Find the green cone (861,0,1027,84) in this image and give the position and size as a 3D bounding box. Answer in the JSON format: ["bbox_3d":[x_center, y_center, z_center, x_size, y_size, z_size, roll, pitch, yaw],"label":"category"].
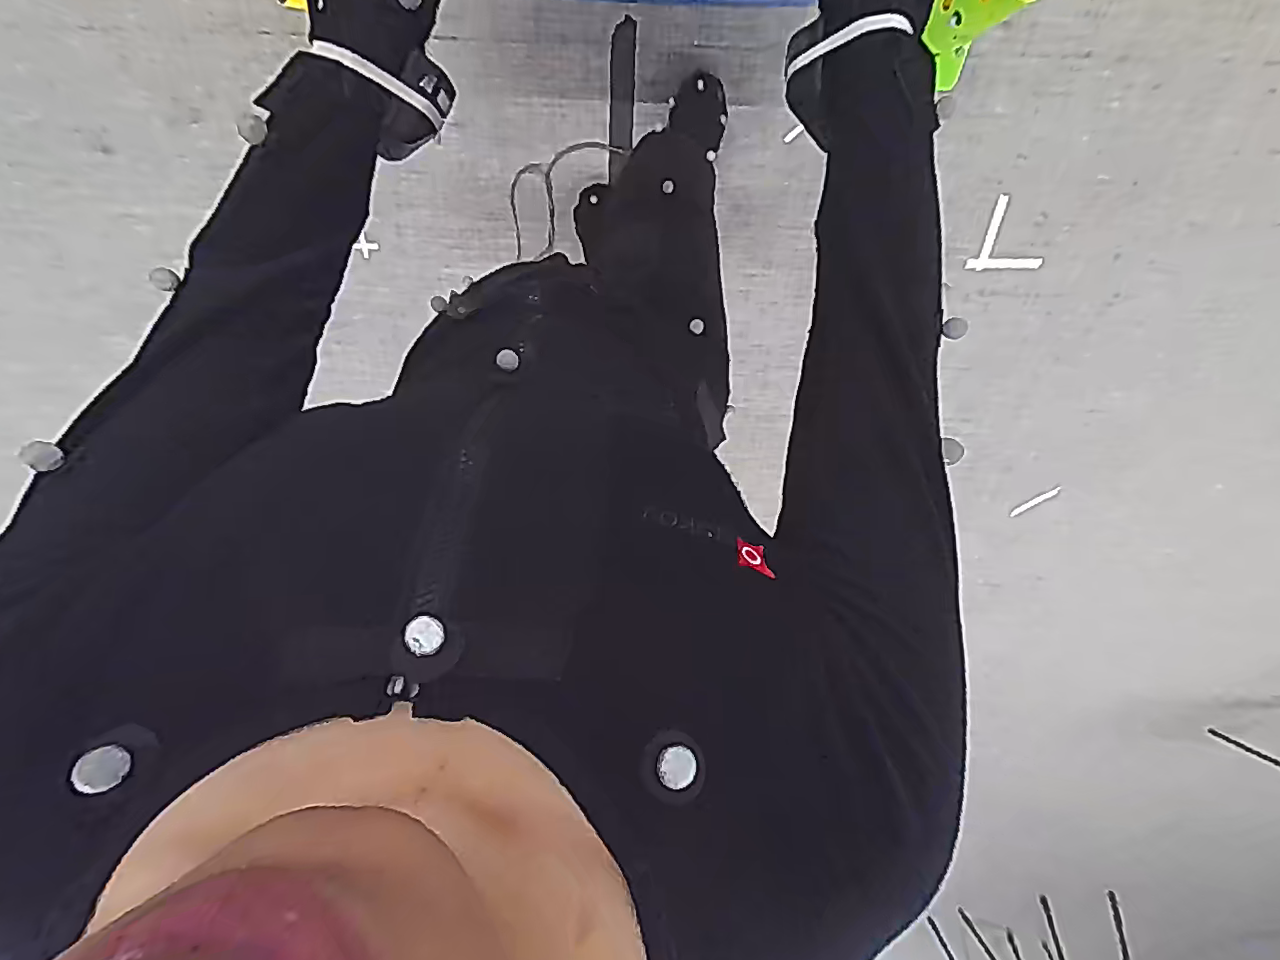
[{"bbox_3d":[0.541,-0.787,0.888,0.202,0.368,0.200,5,125,-4],"label":"green cone"}]
